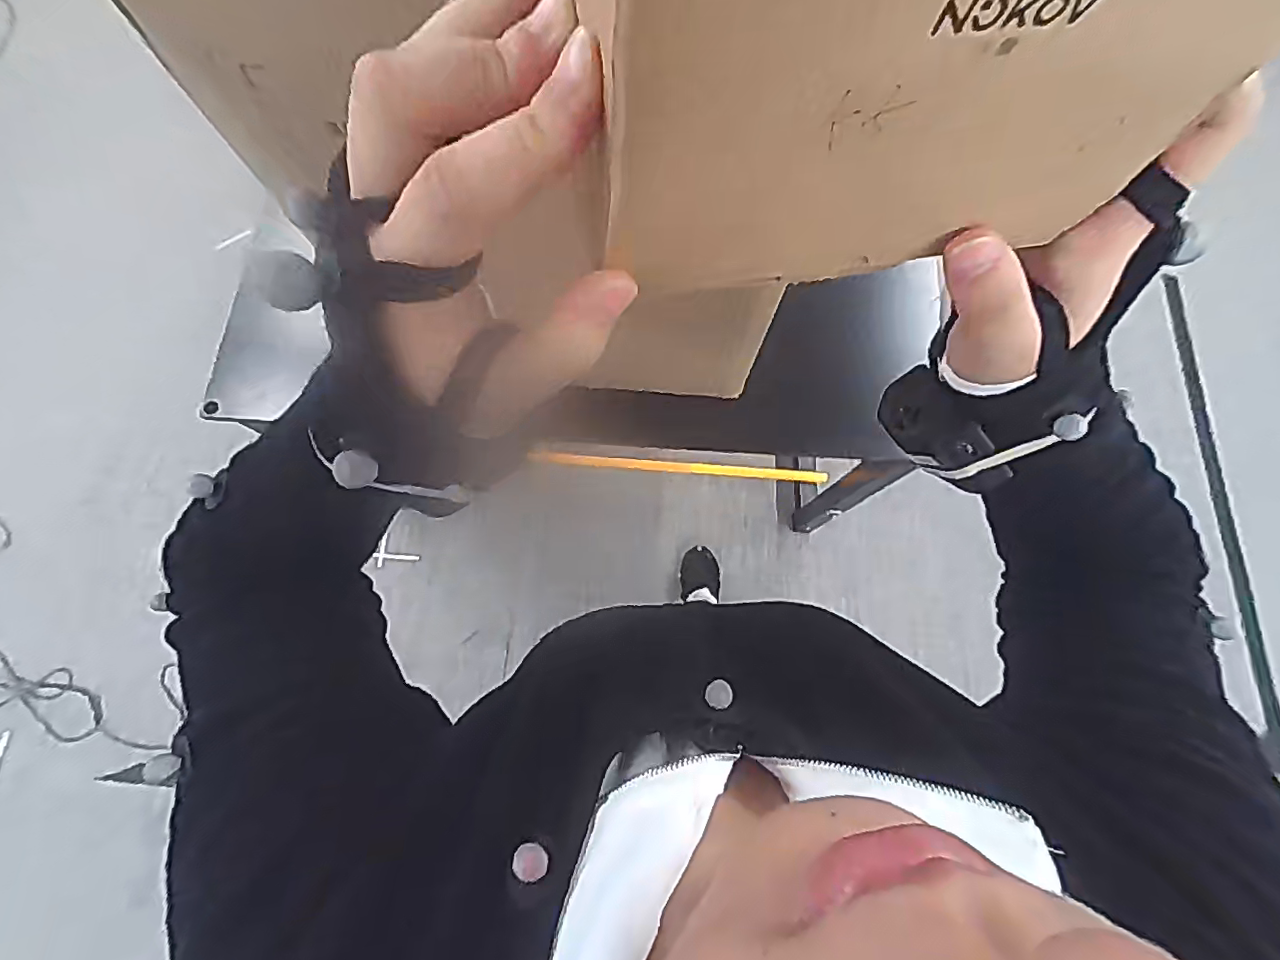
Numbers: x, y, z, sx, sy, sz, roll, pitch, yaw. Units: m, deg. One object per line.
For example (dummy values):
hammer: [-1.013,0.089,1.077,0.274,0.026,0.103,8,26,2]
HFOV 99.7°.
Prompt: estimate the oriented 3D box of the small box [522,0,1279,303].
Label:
small box: [0.052,-0.171,0.122,0.168,0.179,0.176,-12,74,-8]
